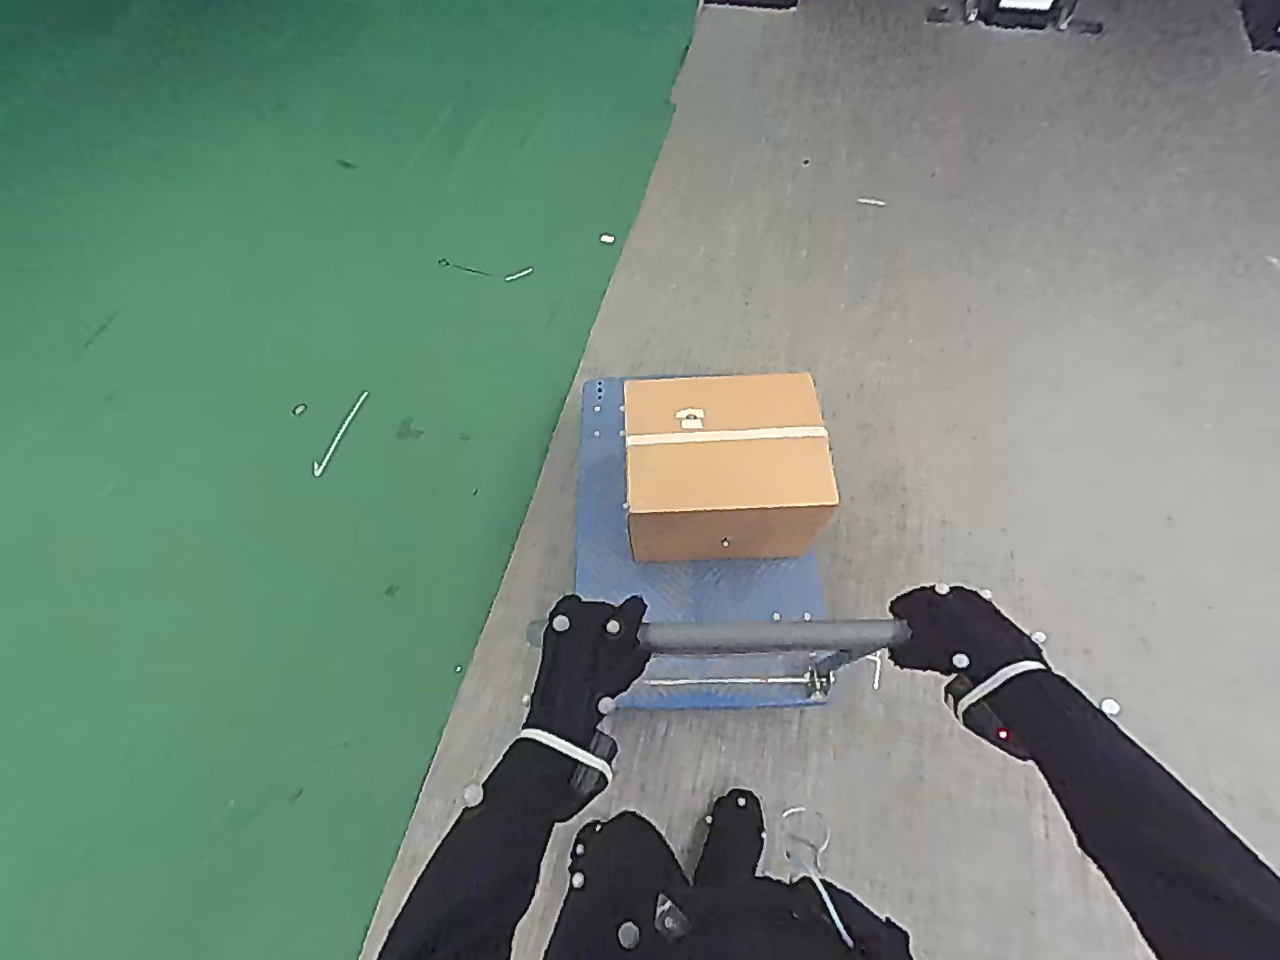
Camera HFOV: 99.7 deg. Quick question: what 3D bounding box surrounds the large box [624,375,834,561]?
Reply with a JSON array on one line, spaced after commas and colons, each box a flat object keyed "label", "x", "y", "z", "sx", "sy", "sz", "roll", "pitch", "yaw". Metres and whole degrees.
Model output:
[{"label": "large box", "x": 0.179, "y": -0.013, "z": 1.240, "sx": 0.408, "sy": 0.320, "sz": 0.320, "roll": -3, "pitch": 63, "yaw": 2}]
